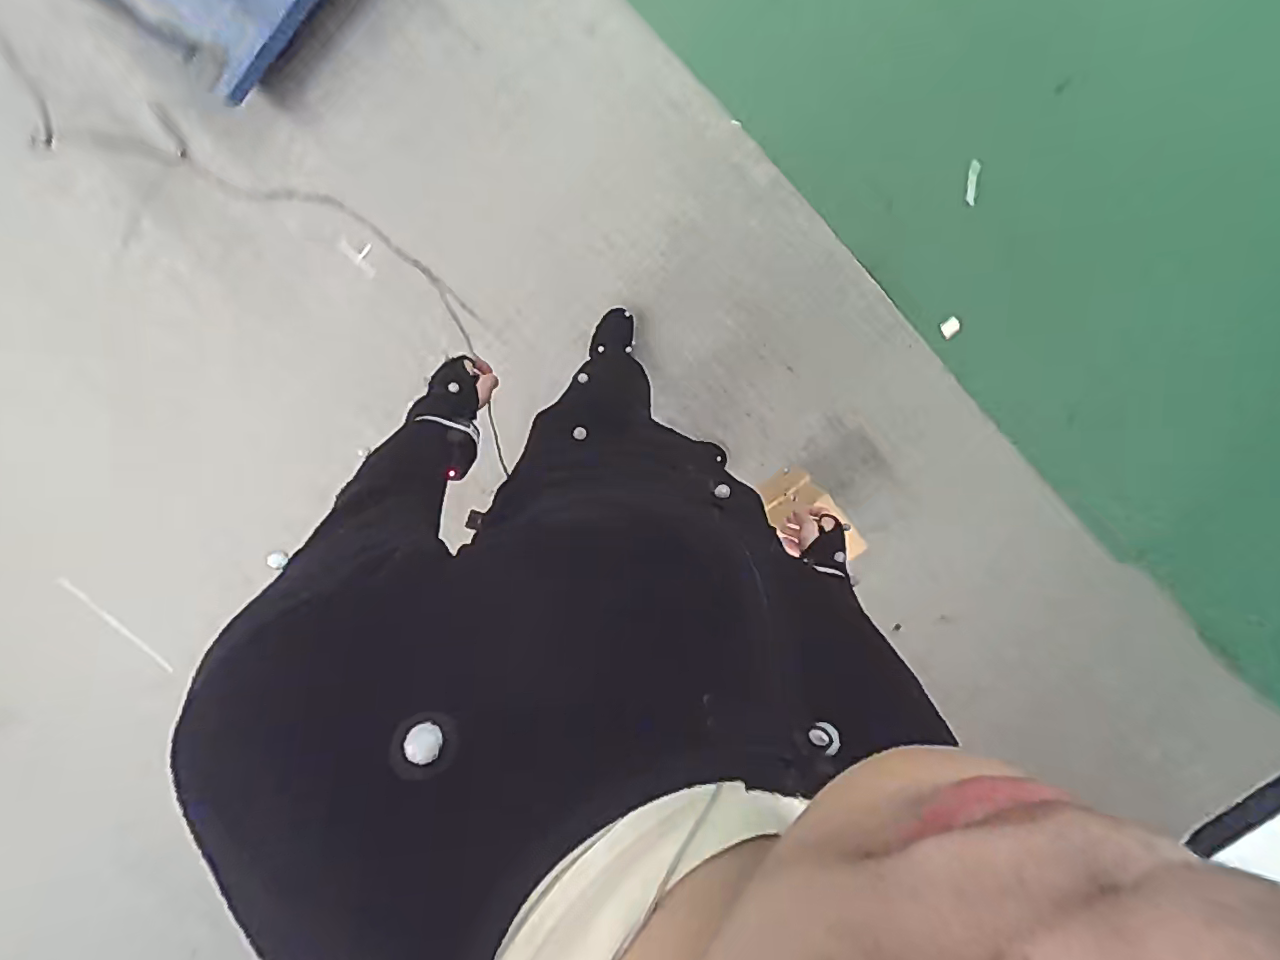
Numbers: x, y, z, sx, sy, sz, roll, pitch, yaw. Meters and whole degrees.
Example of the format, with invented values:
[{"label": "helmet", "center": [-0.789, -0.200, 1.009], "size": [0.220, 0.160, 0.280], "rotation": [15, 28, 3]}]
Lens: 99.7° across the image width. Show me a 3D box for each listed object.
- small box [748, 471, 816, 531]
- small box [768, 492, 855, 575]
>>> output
[{"label": "small box", "center": [0.430, 0.089, 1.549], "size": [0.168, 0.176, 0.179], "rotation": [-38, 98, 10]}, {"label": "small box", "center": [0.436, 0.132, 1.400], "size": [0.179, 0.176, 0.168], "rotation": [-7, 99, 4]}]
